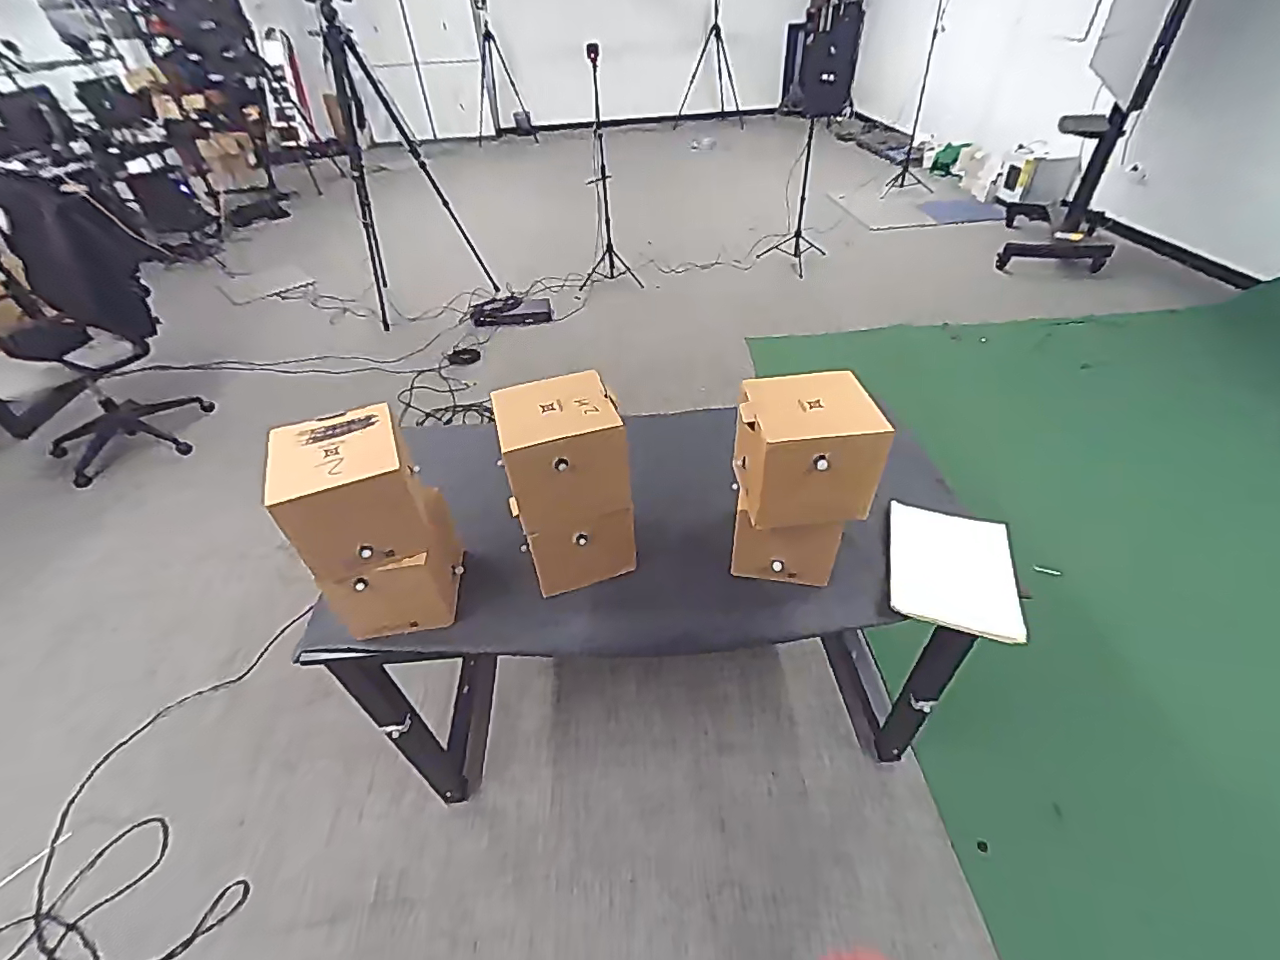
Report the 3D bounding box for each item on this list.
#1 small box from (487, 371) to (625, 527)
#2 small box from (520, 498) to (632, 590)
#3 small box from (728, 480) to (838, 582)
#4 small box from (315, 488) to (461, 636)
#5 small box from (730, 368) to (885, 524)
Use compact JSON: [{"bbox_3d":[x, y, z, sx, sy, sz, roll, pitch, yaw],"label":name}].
[{"bbox_3d":[-0.132,-0.048,0.866,0.179,0.176,0.168,-14,43,-11],"label":"small box"},{"bbox_3d":[-0.123,0.073,0.978,0.179,0.176,0.168,-16,44,-13],"label":"small box"},{"bbox_3d":[0.249,0.054,0.962,0.168,0.176,0.179,5,43,11],"label":"small box"},{"bbox_3d":[-0.414,0.139,0.926,0.168,0.176,0.179,-8,42,-5],"label":"small box"},{"bbox_3d":[0.243,-0.051,0.836,0.179,0.176,0.168,-6,41,-1],"label":"small box"}]
